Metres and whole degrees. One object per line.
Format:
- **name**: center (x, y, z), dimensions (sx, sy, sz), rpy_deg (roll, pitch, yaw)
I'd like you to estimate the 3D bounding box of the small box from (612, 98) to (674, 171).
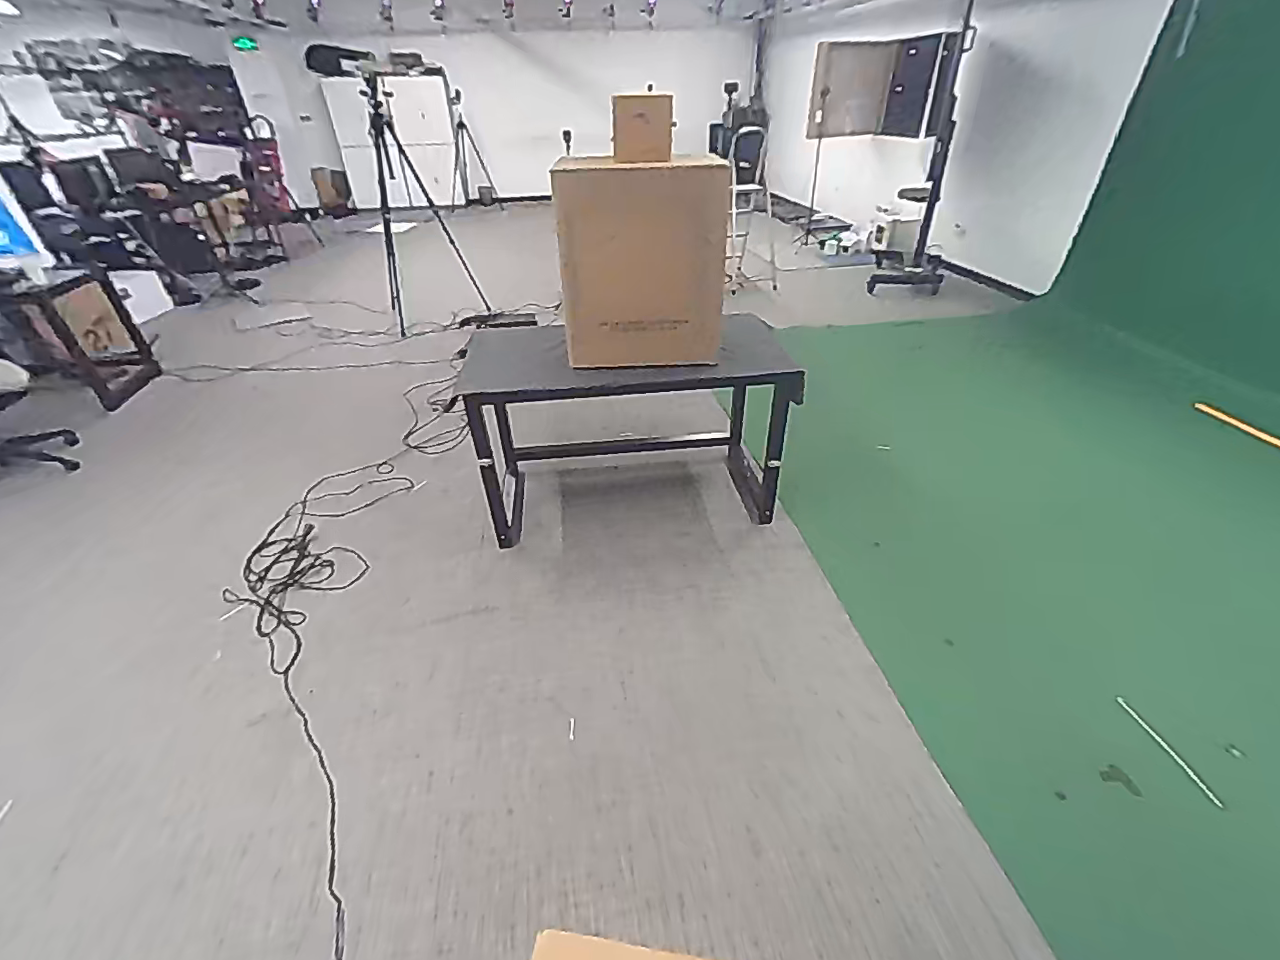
- **small box**: center (0.010, -1.039, 1.624), dimensions (0.179, 0.176, 0.168), rpy_deg (-1, 38, 1)
